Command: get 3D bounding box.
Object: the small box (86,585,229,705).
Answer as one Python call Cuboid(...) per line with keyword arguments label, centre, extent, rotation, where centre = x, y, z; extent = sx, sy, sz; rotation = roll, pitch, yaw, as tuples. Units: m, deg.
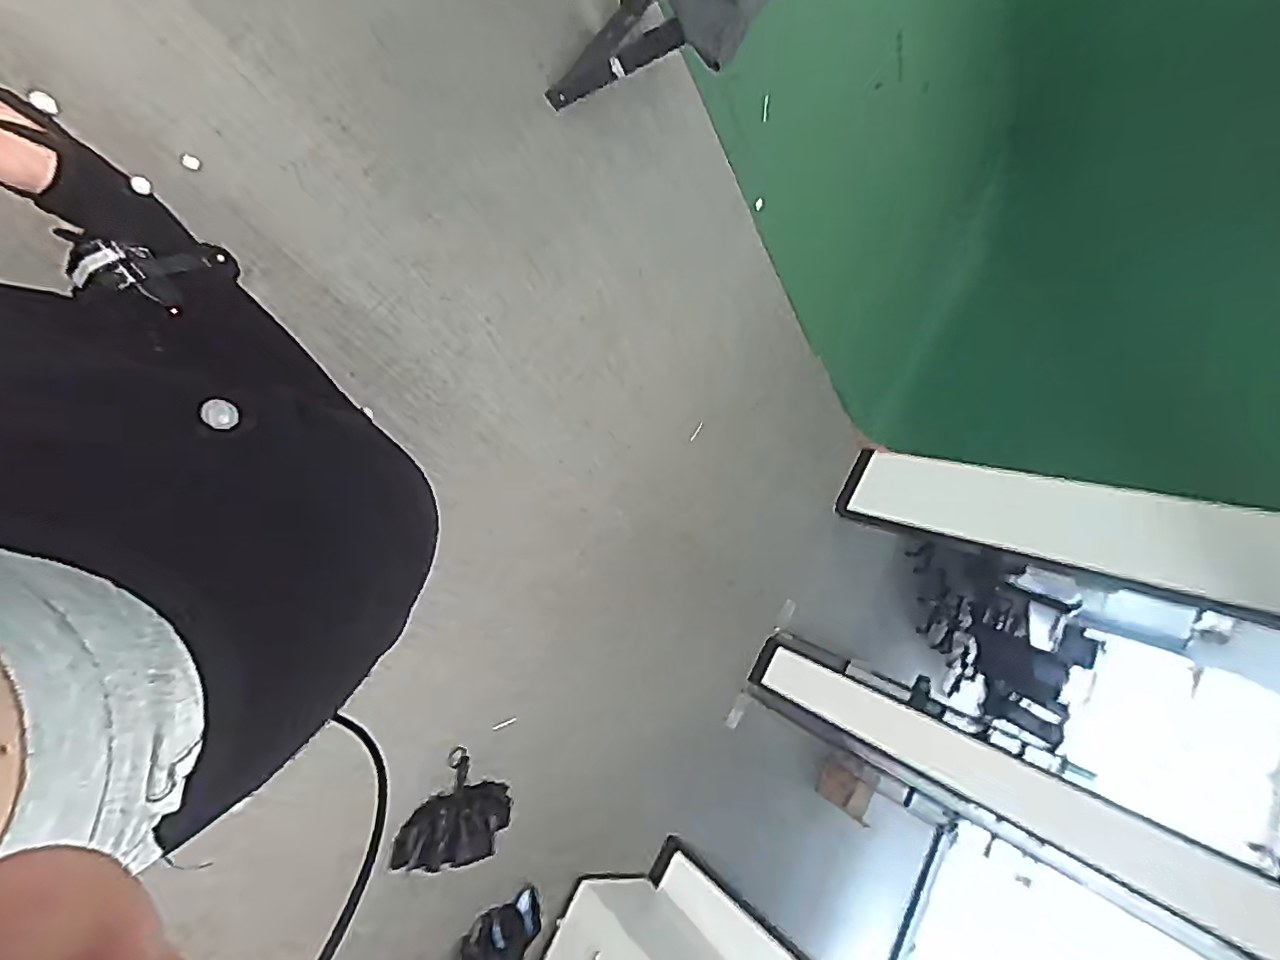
Cuboid(label="small box", centre=(-1.060, 0.359, 1.193), extent=(0.168, 0.176, 0.179), rotation=(45, 68, -43))
